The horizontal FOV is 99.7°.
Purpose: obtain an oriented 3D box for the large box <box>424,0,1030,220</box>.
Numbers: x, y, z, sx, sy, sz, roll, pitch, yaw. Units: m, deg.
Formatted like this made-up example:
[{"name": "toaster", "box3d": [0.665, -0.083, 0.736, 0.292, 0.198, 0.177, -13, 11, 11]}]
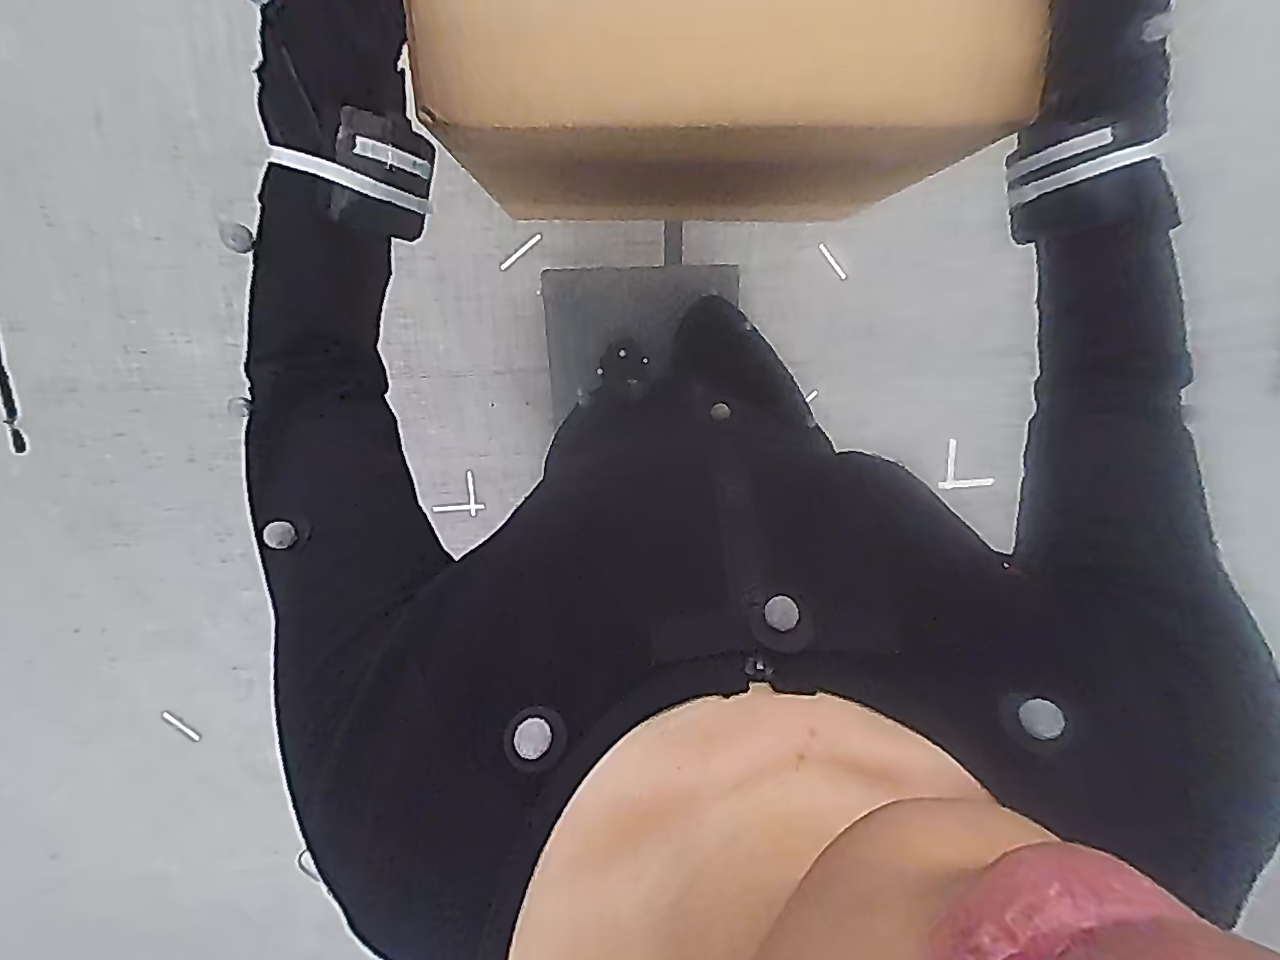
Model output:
[{"name": "large box", "box3d": [0.049, -0.429, 0.471, 0.408, 0.320, 0.320, -2, 105, -3]}]
